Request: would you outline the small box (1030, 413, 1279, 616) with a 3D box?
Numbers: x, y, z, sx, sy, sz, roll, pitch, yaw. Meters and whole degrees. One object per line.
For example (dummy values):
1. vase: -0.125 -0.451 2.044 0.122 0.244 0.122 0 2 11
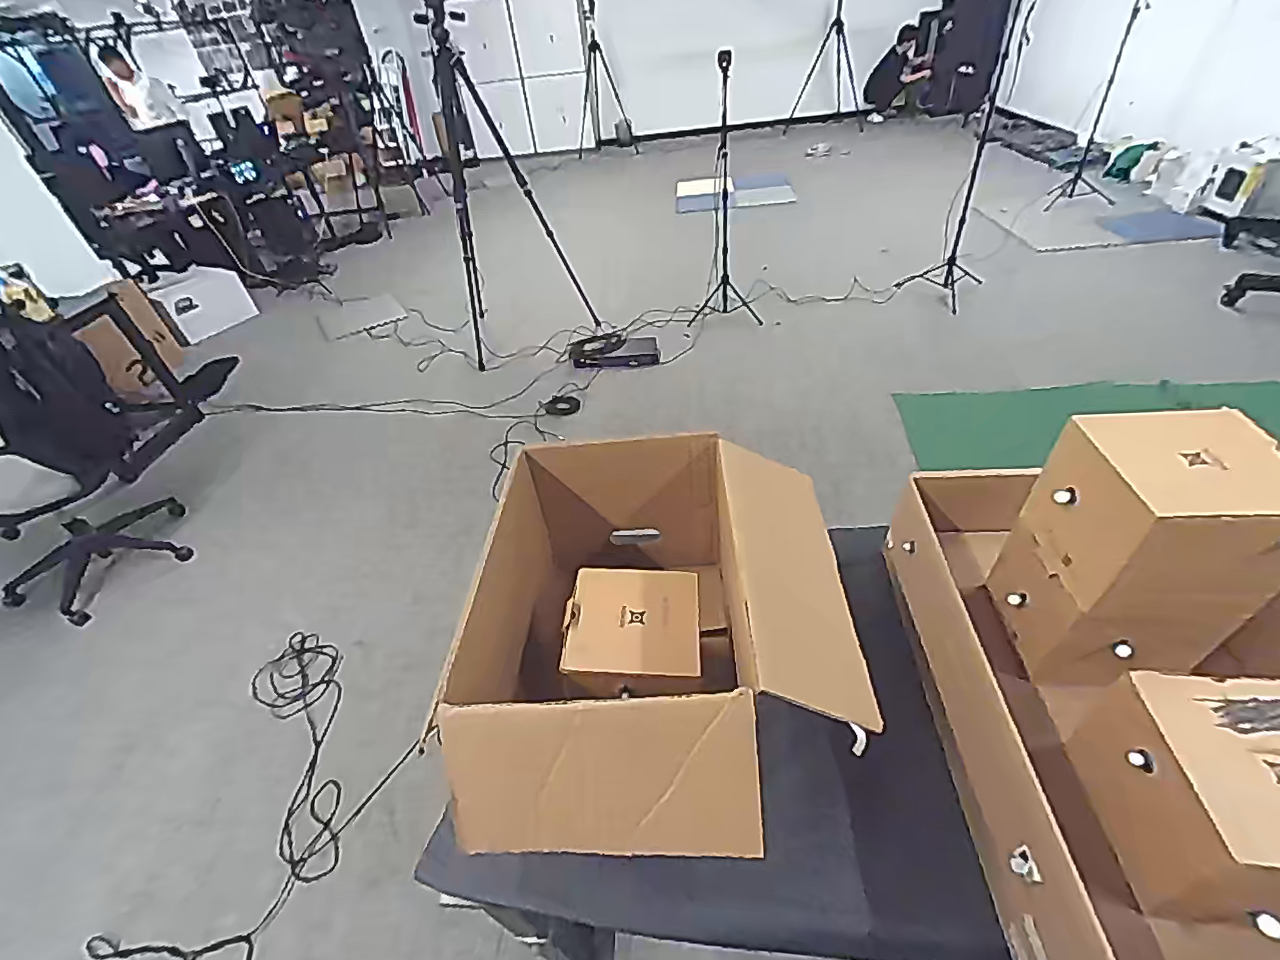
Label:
1. small box: 0.585 0.042 0.617 0.179 0.176 0.168 -2 43 7
